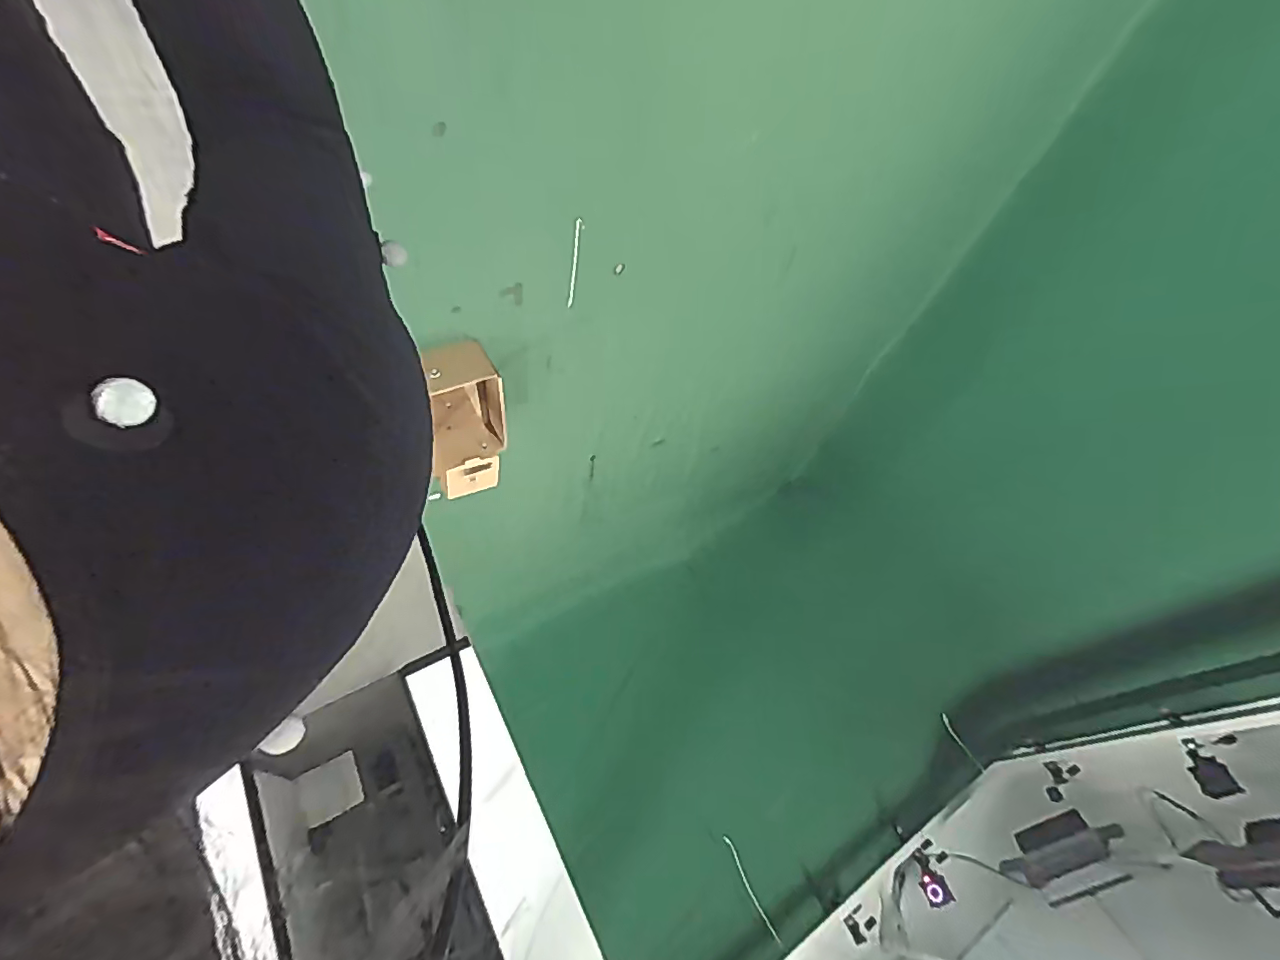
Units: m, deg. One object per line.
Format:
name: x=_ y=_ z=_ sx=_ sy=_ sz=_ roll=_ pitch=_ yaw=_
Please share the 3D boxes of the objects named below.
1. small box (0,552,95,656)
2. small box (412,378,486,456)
small box: x=-1.521 y=0.306 z=1.346 sx=0.168 sy=0.176 sz=0.179 roll=-25 pitch=155 yaw=-24
small box: x=-0.628 y=-0.212 z=1.785 sx=0.179 sy=0.176 sz=0.168 roll=-21 pitch=154 yaw=-23
